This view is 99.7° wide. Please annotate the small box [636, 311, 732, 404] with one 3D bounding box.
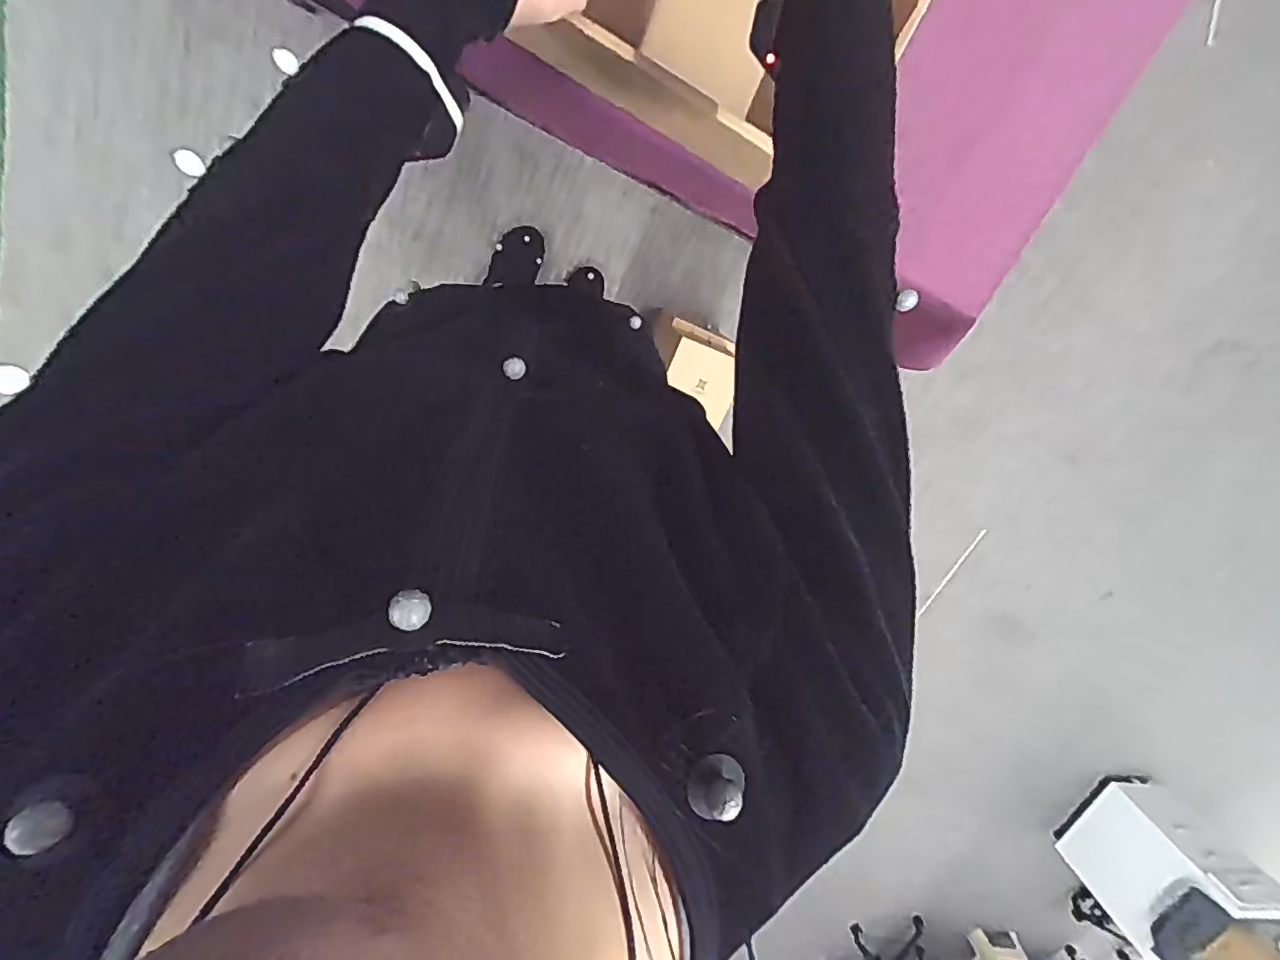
[{"bbox_3d":[0.106,-0.321,1.392,0.179,0.176,0.168,20,111,-17],"label":"small box"}]
